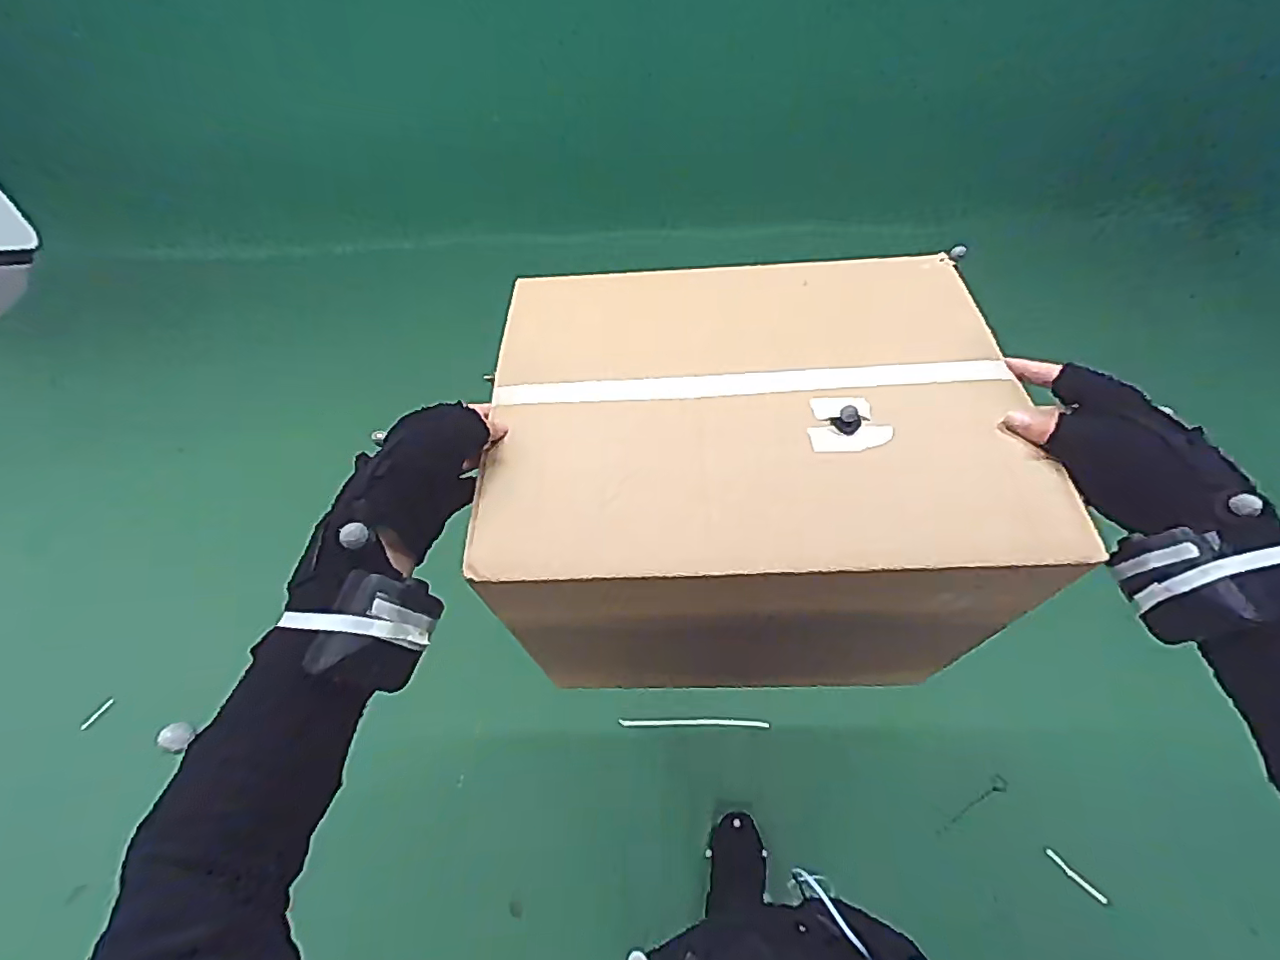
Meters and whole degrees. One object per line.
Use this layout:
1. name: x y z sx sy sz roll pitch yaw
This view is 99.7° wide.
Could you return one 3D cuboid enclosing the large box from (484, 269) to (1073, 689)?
1. large box: 0.094 0.018 0.566 0.408 0.320 0.320 -3 57 3
